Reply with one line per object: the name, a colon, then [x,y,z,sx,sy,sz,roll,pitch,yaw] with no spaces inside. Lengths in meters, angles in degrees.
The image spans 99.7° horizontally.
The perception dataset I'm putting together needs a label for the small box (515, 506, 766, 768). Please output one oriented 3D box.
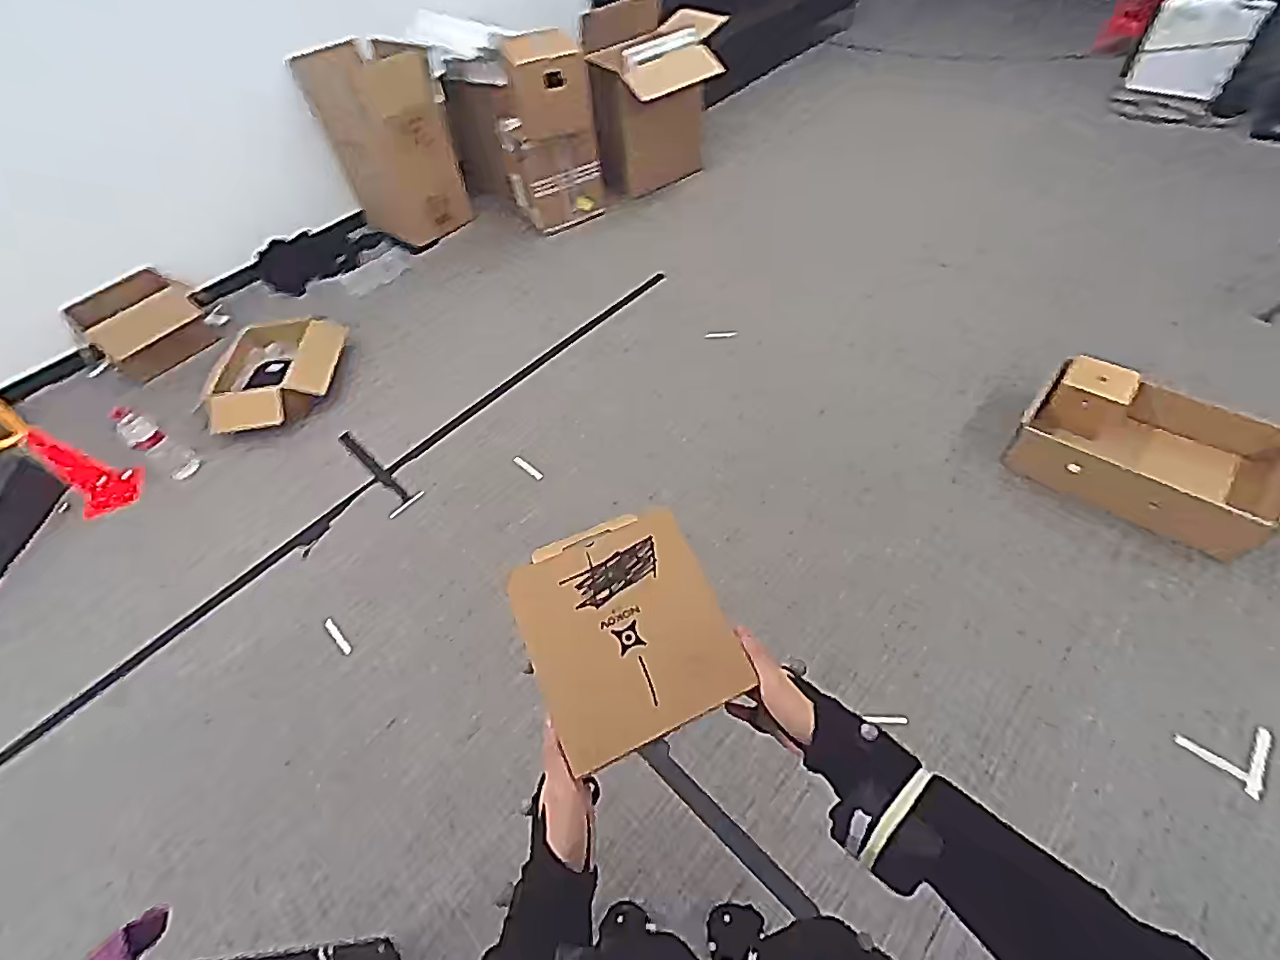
small box: [-0.006,0.157,0.528,0.168,0.176,0.179,-22,66,-11]
